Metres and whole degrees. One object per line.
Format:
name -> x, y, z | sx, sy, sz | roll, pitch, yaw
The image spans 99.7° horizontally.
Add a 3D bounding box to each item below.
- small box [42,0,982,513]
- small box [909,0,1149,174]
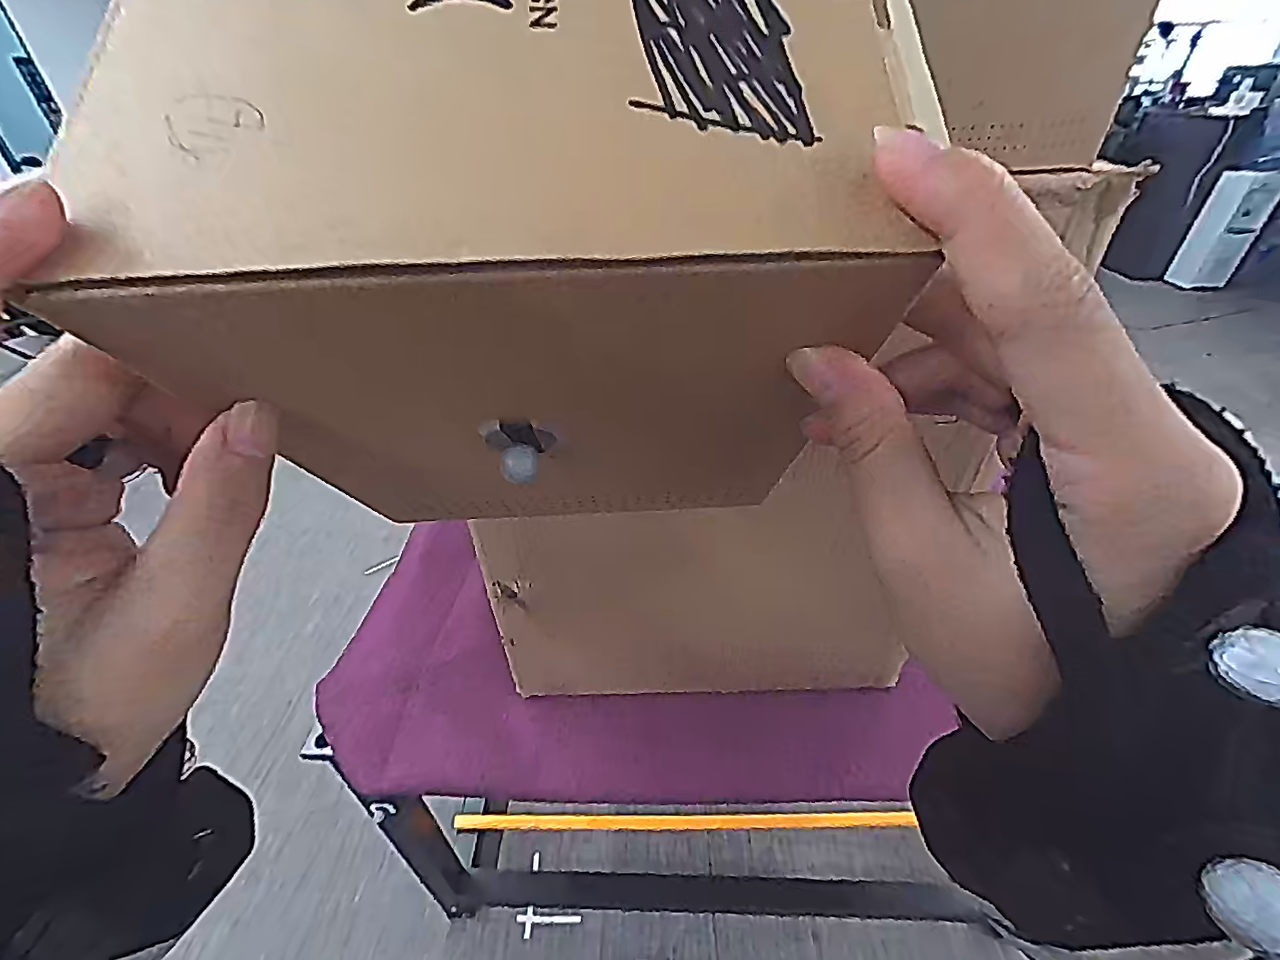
small box -> -0.025, -0.090, 0.200 | 0.179, 0.176, 0.168 | -3, 70, -1
small box -> 0.228, -0.325, 0.391 | 0.179, 0.176, 0.168 | -1, 38, 2
